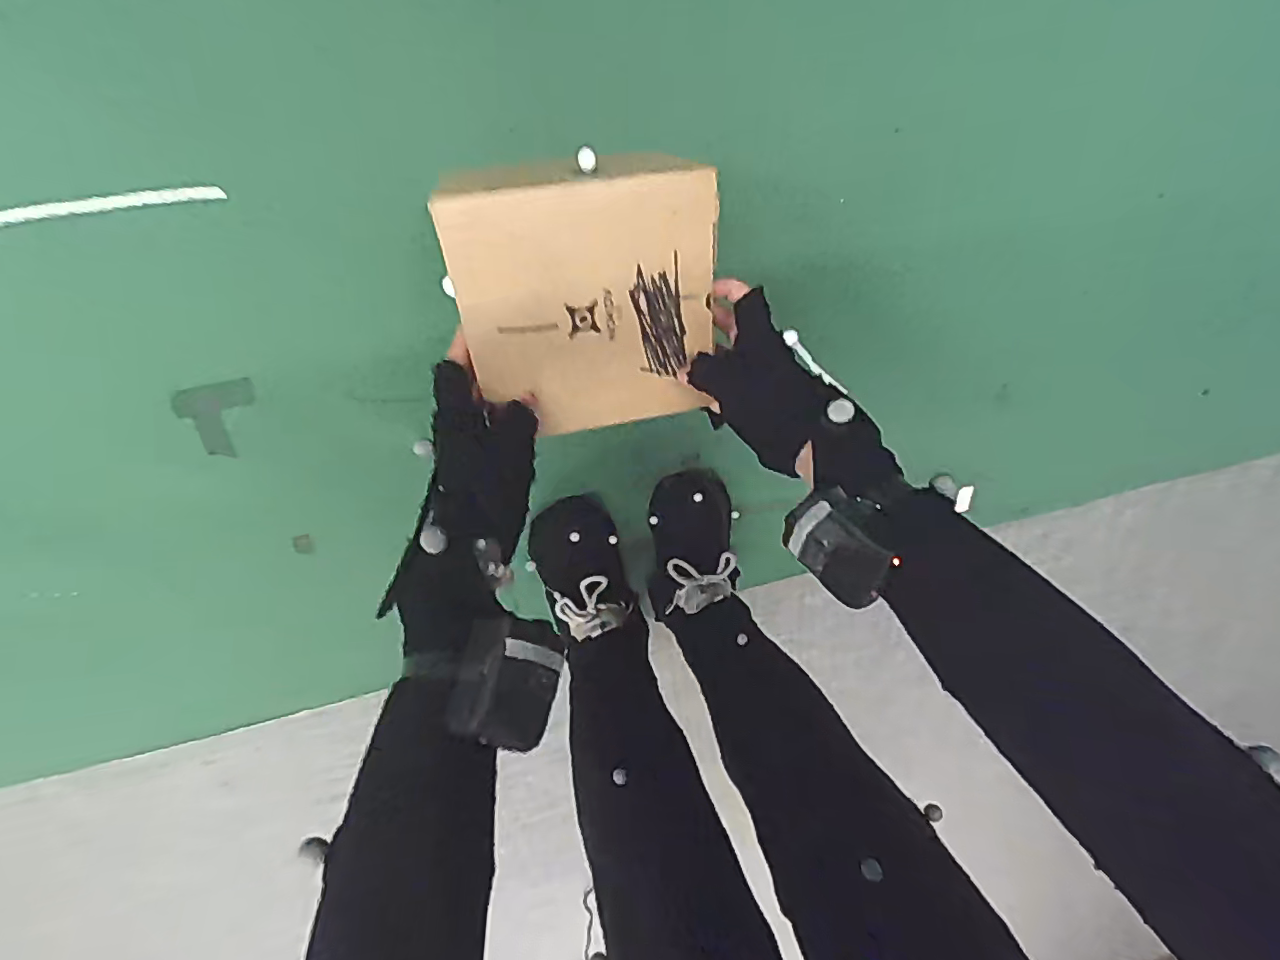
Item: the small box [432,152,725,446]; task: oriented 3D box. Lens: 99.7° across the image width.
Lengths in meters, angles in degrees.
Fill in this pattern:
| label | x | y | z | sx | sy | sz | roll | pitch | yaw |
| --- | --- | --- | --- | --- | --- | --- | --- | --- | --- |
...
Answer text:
| label | x | y | z | sx | sy | sz | roll | pitch | yaw |
| --- | --- | --- | --- | --- | --- | --- | --- | --- | --- |
| small box | -0.048 | -0.150 | 0.421 | 0.179 | 0.176 | 0.168 | -10 | 126 | -9 |
